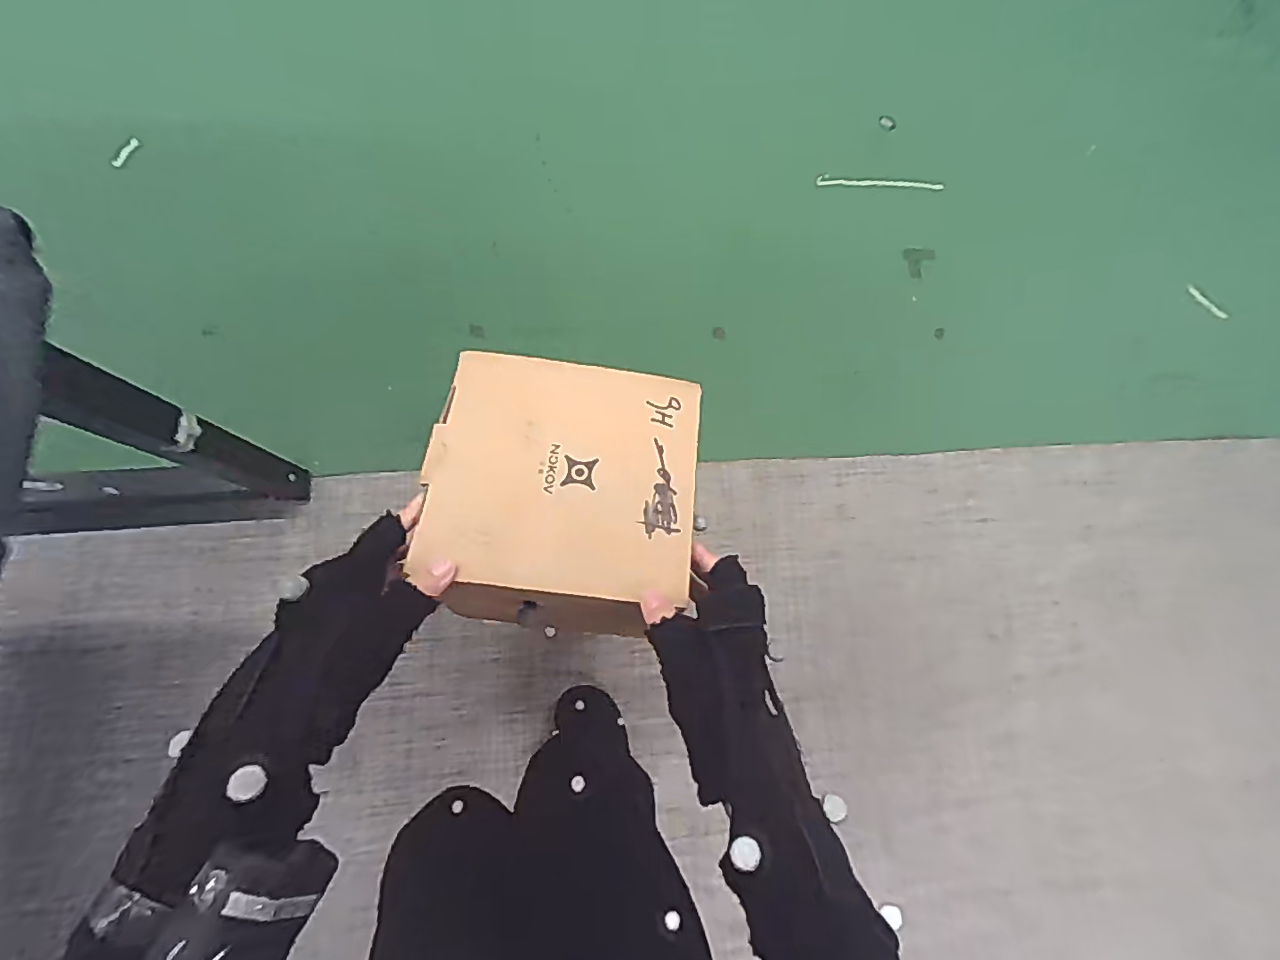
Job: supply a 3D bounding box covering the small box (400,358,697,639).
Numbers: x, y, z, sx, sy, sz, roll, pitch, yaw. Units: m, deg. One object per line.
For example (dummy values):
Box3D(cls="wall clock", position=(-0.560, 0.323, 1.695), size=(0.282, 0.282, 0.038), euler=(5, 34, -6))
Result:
Box3D(cls="small box", position=(-0.061, 0.028, 0.437), size=(0.179, 0.176, 0.168), euler=(8, 66, -4))
